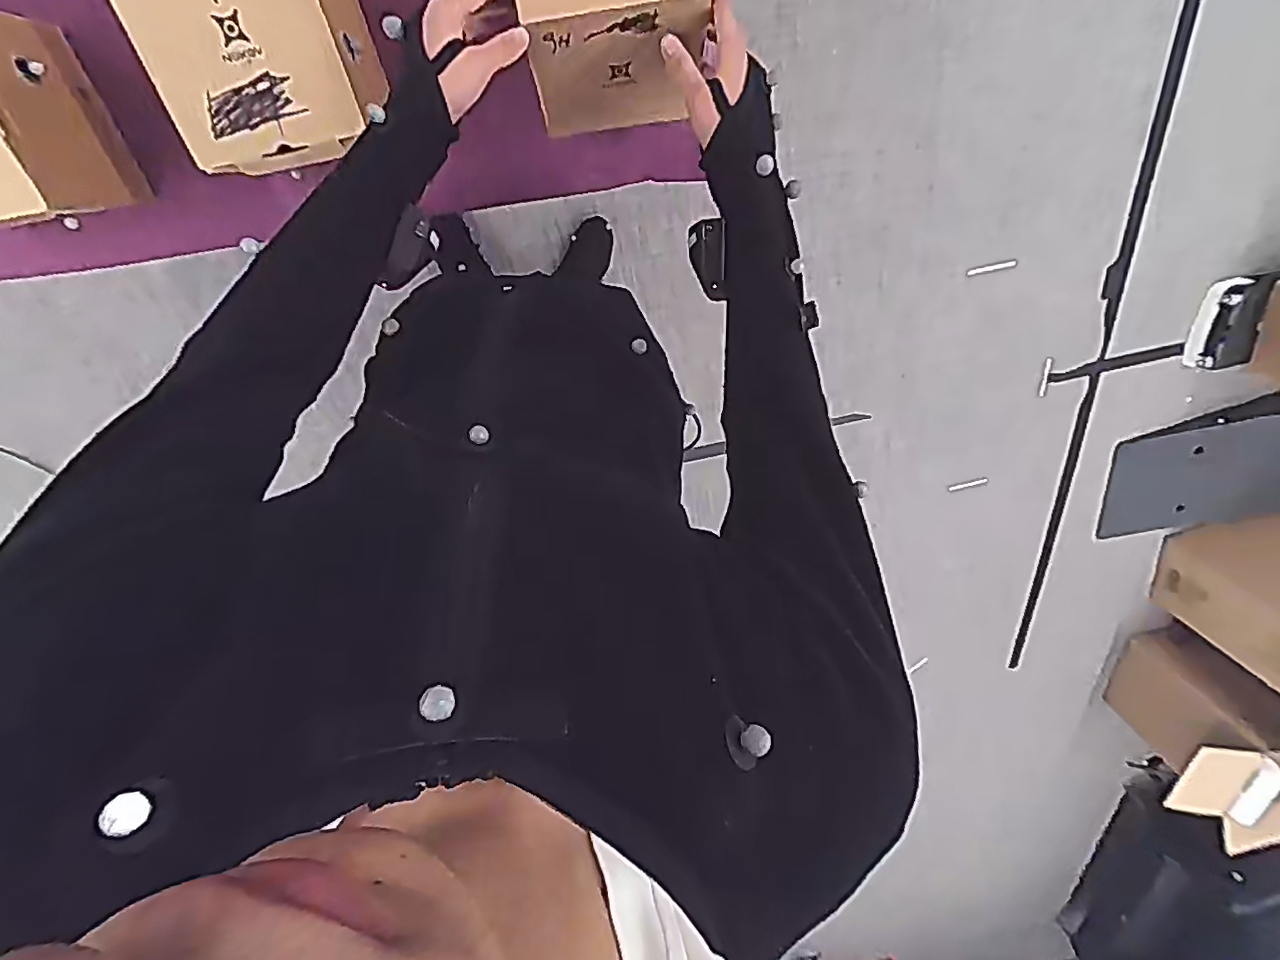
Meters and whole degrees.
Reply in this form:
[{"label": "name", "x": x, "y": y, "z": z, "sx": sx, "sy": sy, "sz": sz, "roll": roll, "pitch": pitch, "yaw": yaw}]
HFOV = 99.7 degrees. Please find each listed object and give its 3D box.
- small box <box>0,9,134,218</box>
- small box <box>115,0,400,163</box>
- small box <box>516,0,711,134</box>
[{"label": "small box", "x": -0.665, "y": -0.354, "z": 0.532, "sx": 0.179, "sy": 0.176, "sz": 0.168, "roll": -13, "pitch": 121, "yaw": -4}, {"label": "small box", "x": -0.365, "y": -0.432, "z": 0.540, "sx": 0.168, "sy": 0.176, "sz": 0.179, "roll": -14, "pitch": 120, "yaw": -2}, {"label": "small box", "x": -0.035, "y": -0.478, "z": 0.519, "sx": 0.168, "sy": 0.179, "sz": 0.176, "roll": -11, "pitch": 92, "yaw": -1}]
